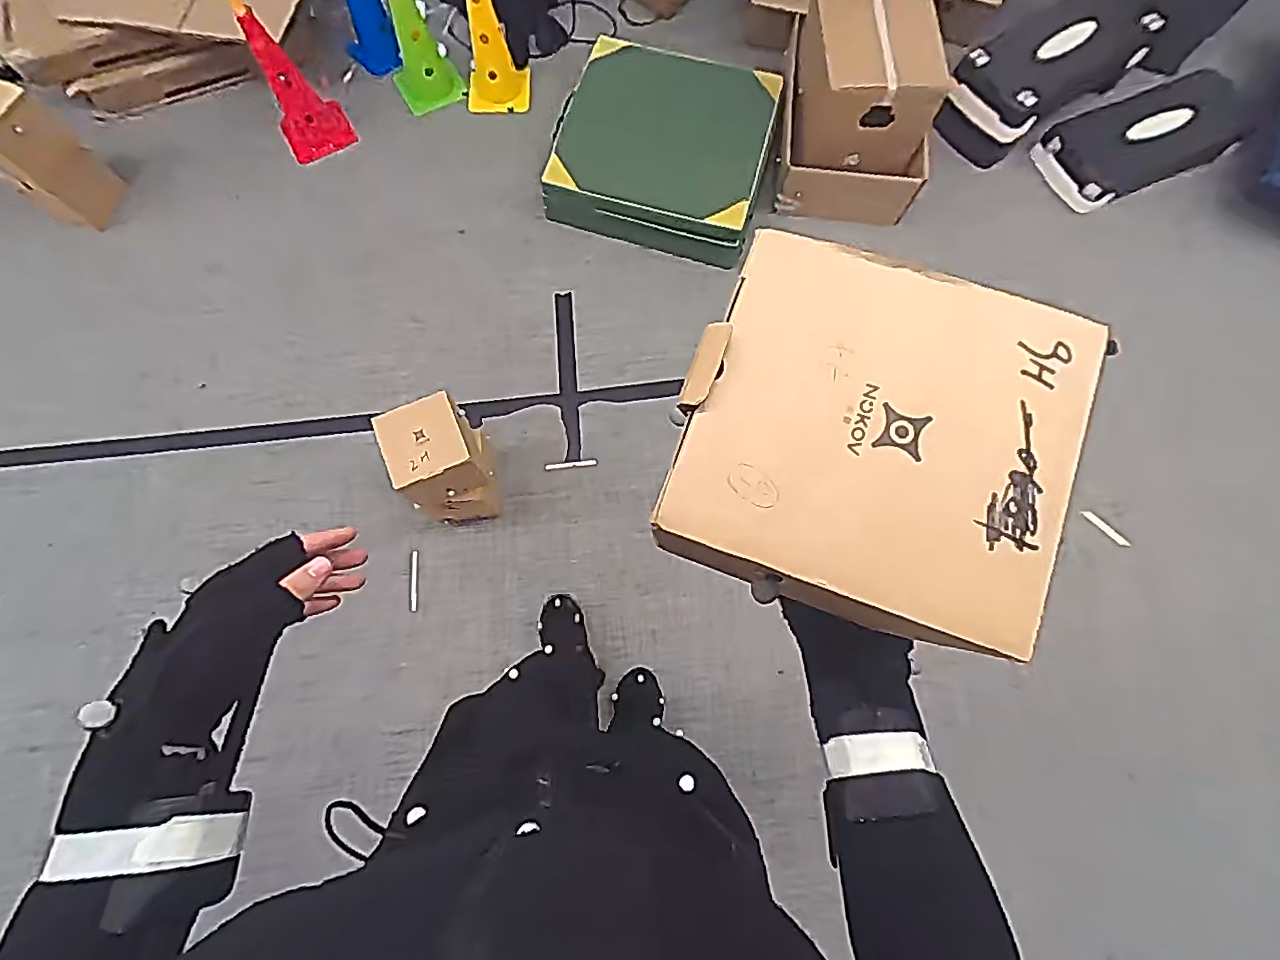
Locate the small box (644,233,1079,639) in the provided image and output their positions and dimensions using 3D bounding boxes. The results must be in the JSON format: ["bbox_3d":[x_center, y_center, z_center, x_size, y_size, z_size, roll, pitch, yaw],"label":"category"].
[{"bbox_3d":[0.111,-0.013,0.336,0.179,0.176,0.168,17,80,6],"label":"small box"}]

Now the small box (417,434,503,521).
[{"bbox_3d":[-0.448,0.002,1.362,0.168,0.176,0.179,-7,73,-2],"label":"small box"}]

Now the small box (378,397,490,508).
[{"bbox_3d":[-0.452,-0.054,1.207,0.168,0.176,0.179,-20,77,-5],"label":"small box"}]
